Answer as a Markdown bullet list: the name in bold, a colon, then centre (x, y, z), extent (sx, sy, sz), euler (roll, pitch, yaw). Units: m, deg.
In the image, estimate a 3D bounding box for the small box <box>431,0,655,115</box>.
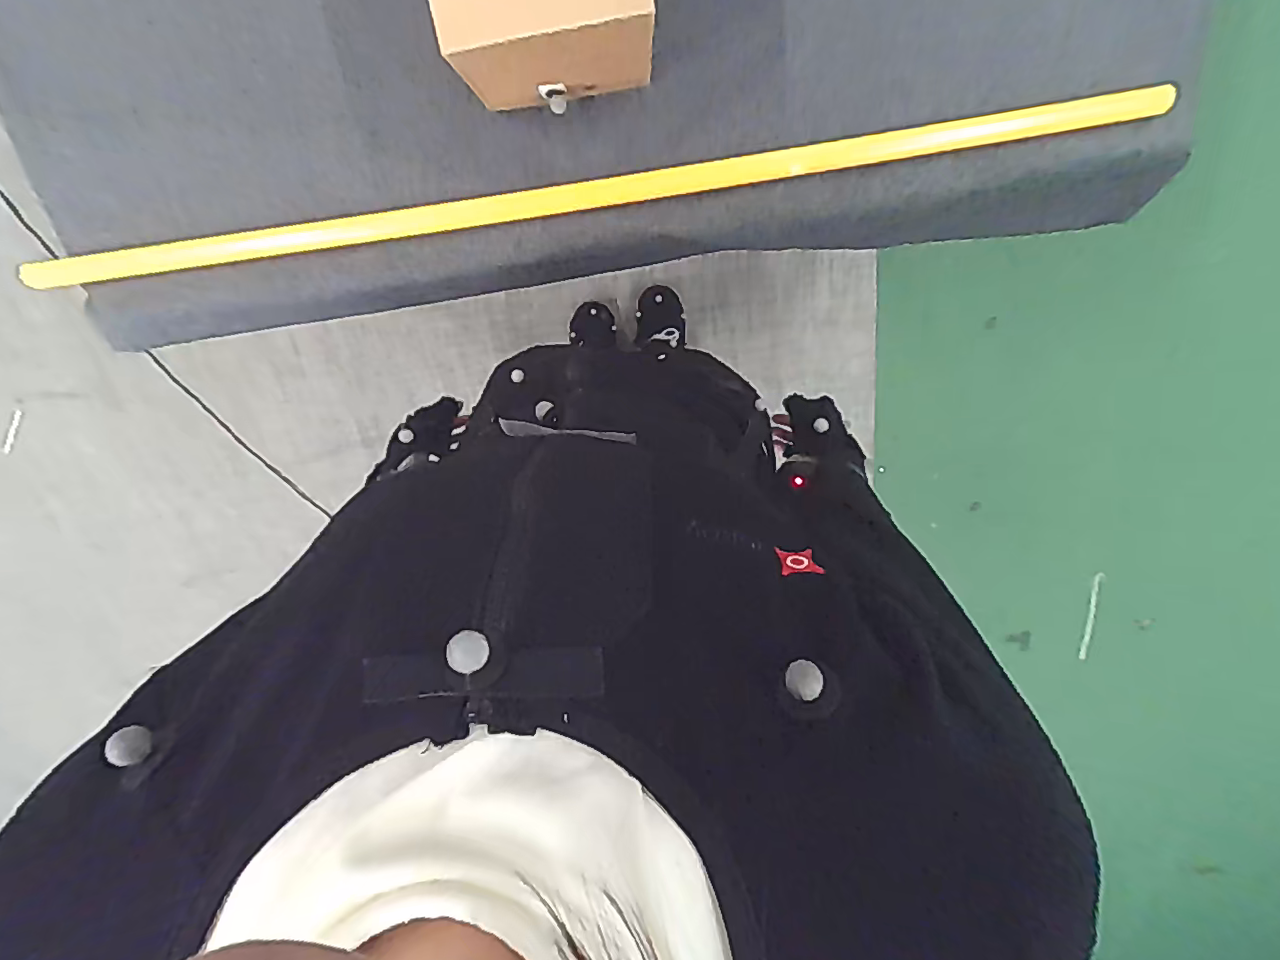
- **small box**: centre (-0.083, -0.442, 0.453), extent (0.168, 0.176, 0.179), euler (-9, 111, 4)
